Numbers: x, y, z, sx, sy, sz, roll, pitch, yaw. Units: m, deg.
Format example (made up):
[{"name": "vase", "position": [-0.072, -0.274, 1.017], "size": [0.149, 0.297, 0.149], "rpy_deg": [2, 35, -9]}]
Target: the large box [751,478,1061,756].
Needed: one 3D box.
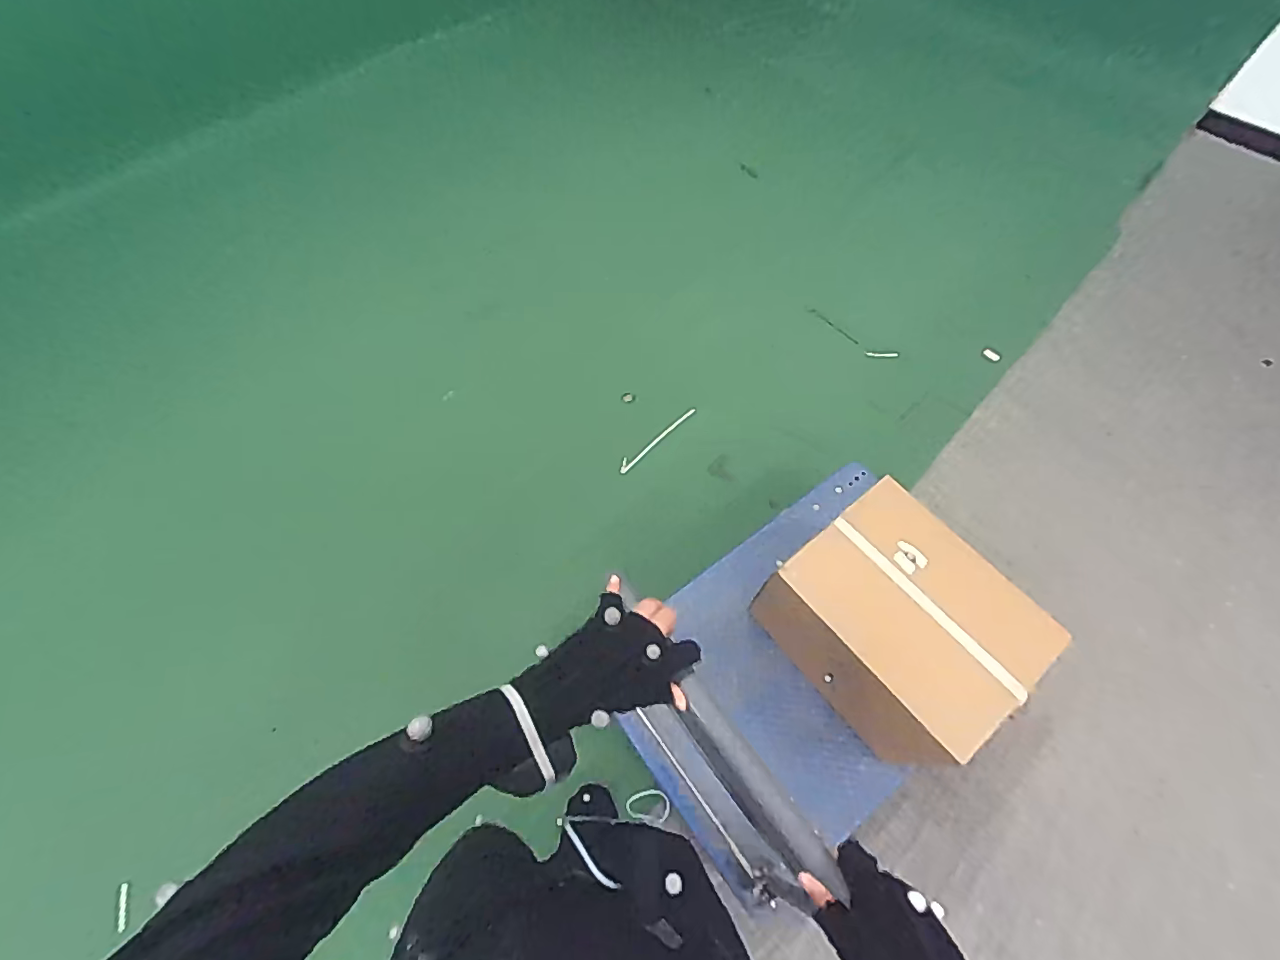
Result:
[{"name": "large box", "position": [0.490, 0.282, 1.091], "size": [0.320, 0.320, 0.408], "rpy_deg": [-35, 67, -17]}]
